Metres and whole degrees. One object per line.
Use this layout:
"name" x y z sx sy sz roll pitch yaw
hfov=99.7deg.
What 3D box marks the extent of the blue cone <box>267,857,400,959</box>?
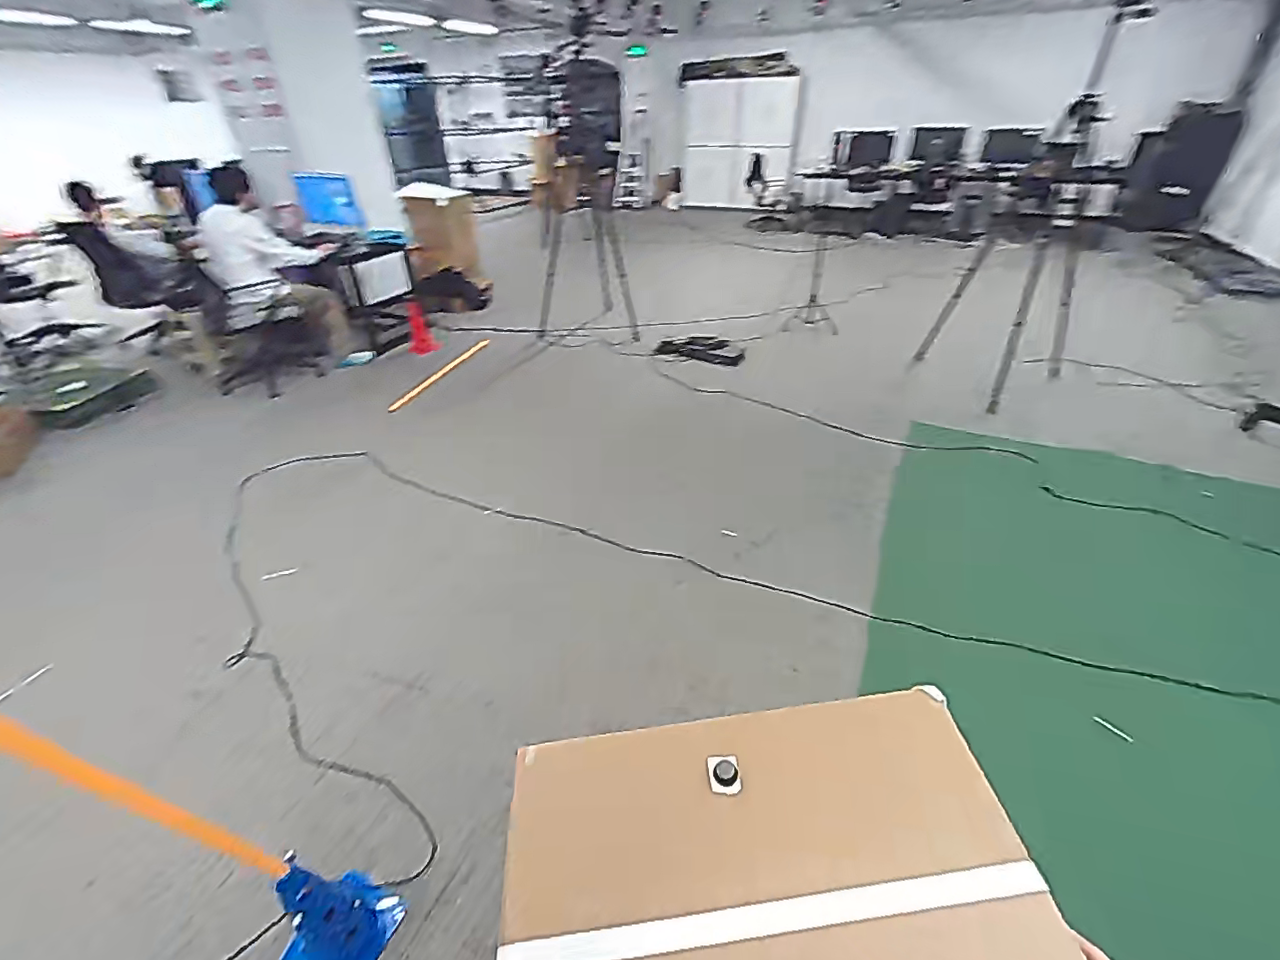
"blue cone" -0.669 0.882 1.124 0.192 0.380 0.193 12 39 20
